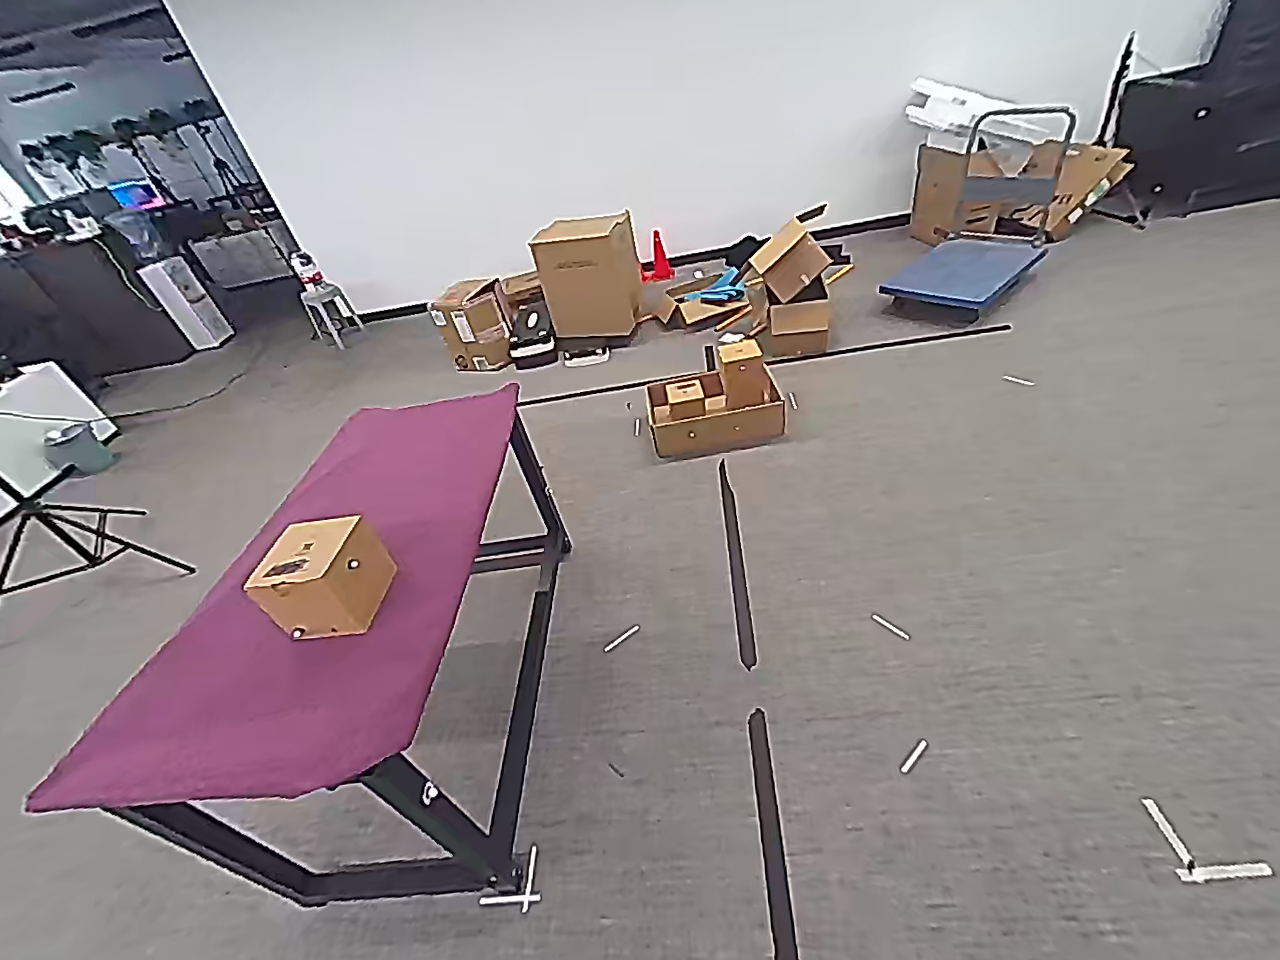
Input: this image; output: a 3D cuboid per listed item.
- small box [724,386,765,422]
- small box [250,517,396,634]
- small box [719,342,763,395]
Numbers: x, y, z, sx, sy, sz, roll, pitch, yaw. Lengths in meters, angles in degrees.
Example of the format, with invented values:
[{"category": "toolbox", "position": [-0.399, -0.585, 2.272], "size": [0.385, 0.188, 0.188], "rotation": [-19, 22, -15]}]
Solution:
[{"category": "small box", "position": [0.503, -0.392, 2.601], "size": [0.168, 0.176, 0.179], "rotation": [-10, 38, 5]}, {"category": "small box", "position": [-0.638, 0.202, 1.117], "size": [0.168, 0.176, 0.179], "rotation": [-7, 38, 8]}, {"category": "small box", "position": [0.469, -0.514, 2.499], "size": [0.179, 0.176, 0.168], "rotation": [-11, 38, 5]}]
